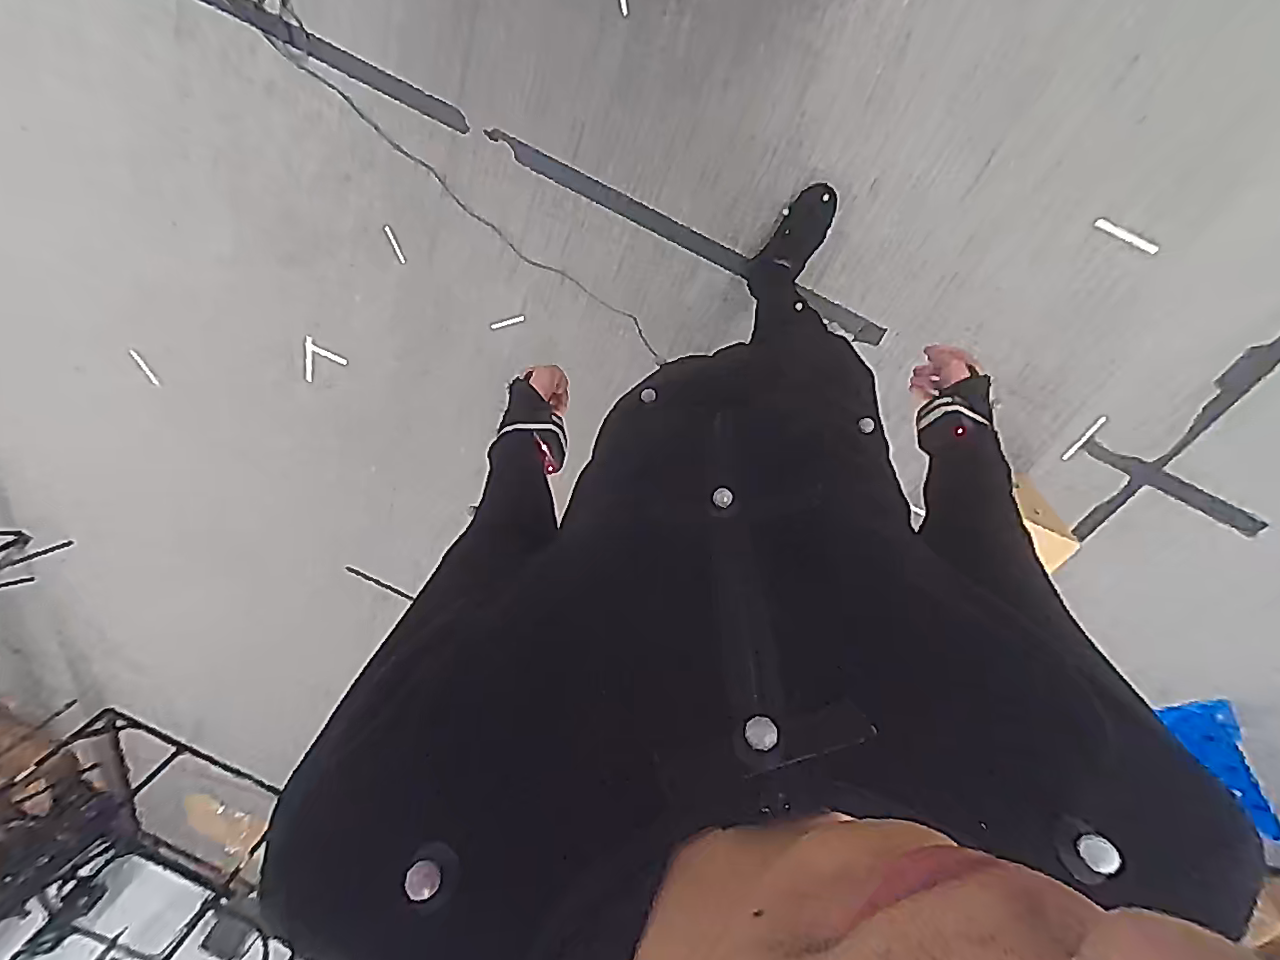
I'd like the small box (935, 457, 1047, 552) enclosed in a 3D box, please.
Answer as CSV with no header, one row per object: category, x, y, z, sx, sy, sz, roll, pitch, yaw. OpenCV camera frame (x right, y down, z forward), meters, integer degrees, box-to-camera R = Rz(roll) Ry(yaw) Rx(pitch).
small box,0.949,0.060,1.482,0.179,0.176,0.168,24,122,3
